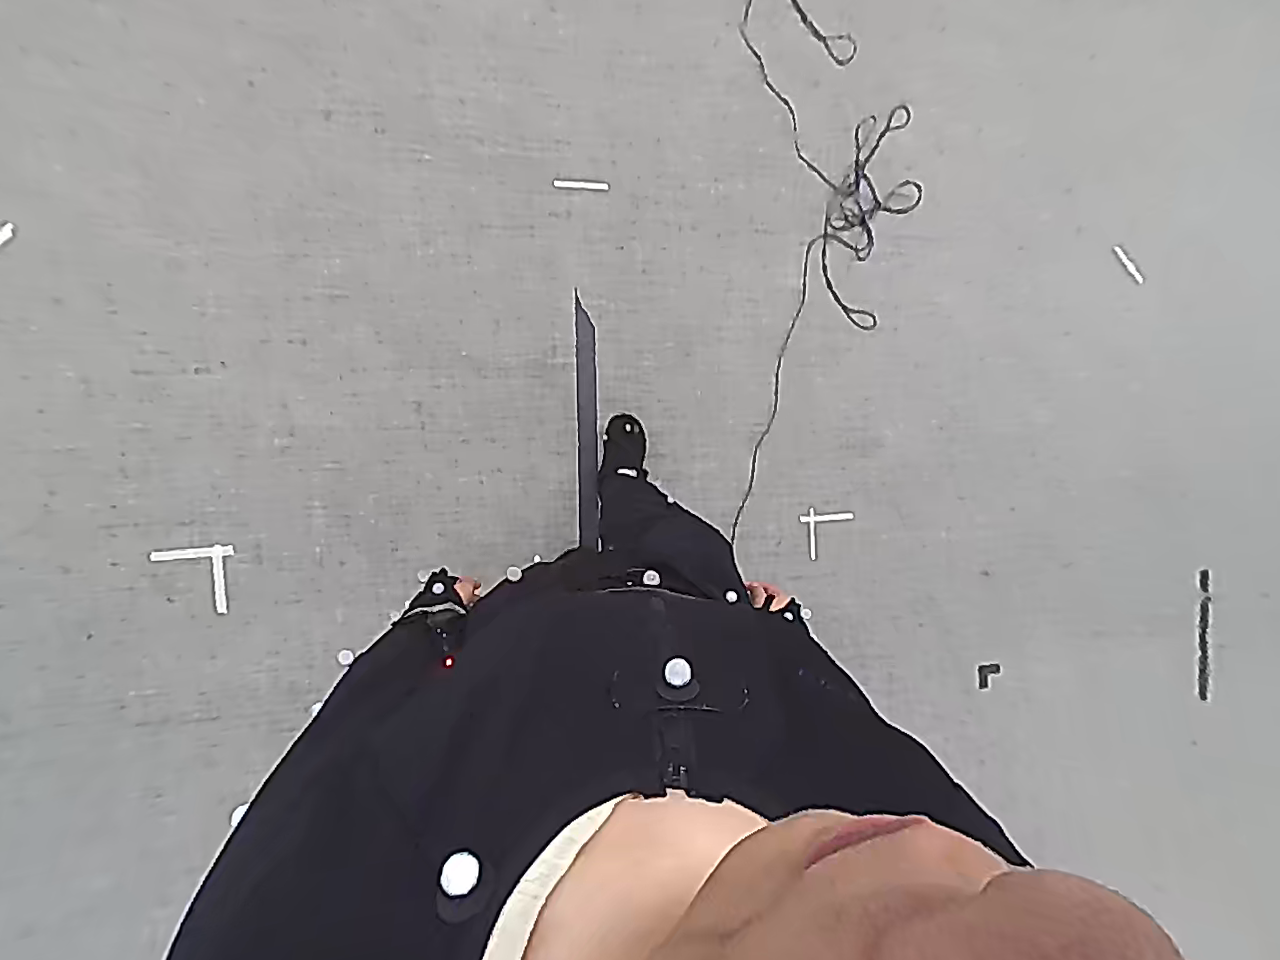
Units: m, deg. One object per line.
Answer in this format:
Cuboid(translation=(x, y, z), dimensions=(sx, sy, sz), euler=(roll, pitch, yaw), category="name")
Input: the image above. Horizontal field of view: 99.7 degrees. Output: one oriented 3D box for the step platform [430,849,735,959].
Cuboid(translation=(-0.126, 1.067, 1.249), dimensions=(0.684, 0.204, 0.286), euler=(3, 88, -6), category="step platform")
